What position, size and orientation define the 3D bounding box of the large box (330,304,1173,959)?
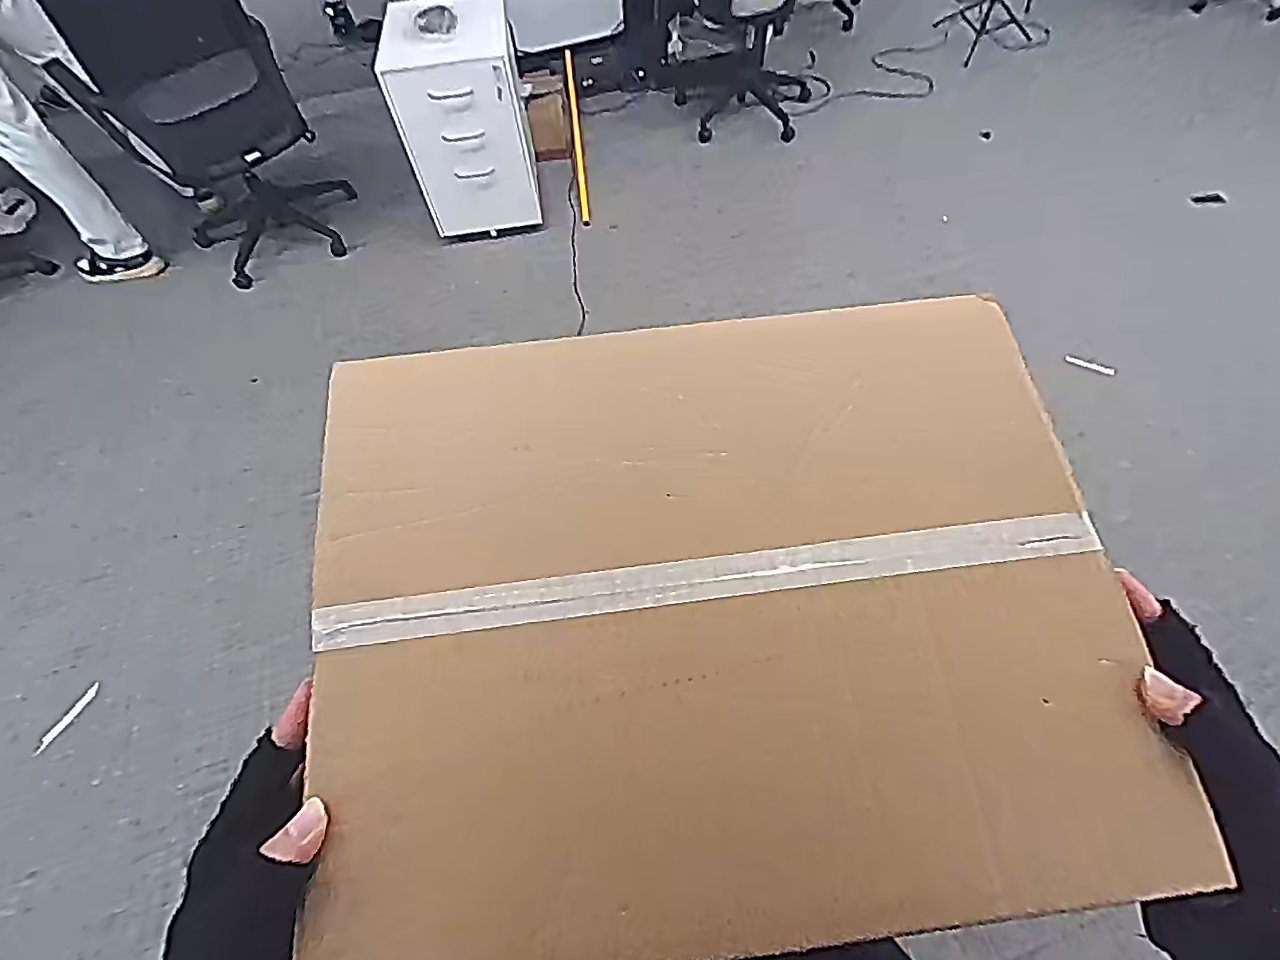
[{"bbox_3d":[0.037,0.103,0.436,0.408,0.320,0.320,-7,71,-2],"label":"large box"}]
